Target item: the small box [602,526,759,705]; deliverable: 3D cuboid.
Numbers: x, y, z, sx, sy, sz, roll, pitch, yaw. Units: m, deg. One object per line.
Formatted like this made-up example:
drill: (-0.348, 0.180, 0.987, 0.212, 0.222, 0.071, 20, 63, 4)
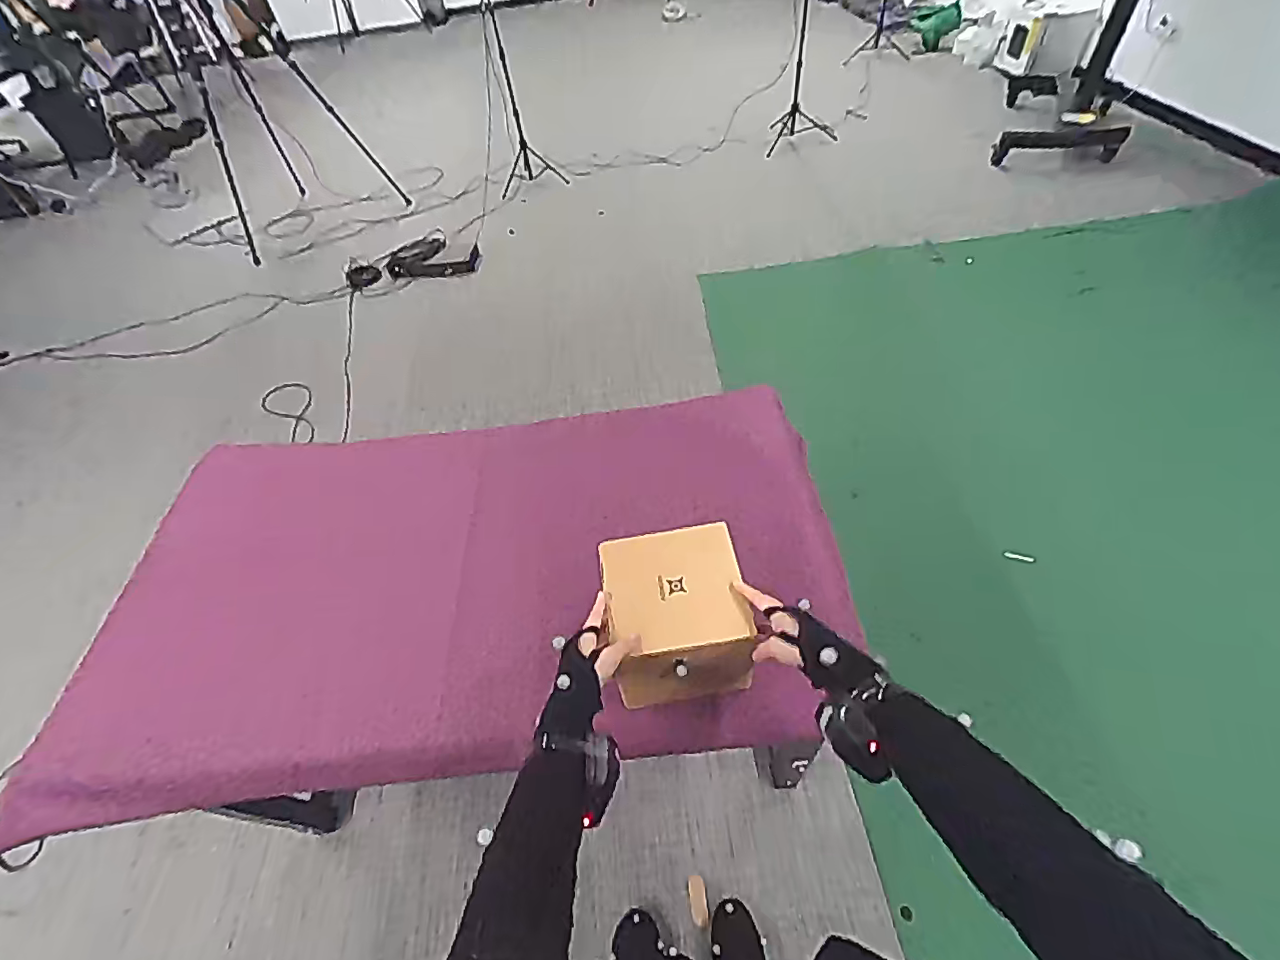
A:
small box: (0.052, 0.188, 0.736, 0.179, 0.176, 0.168, -10, 49, 1)
